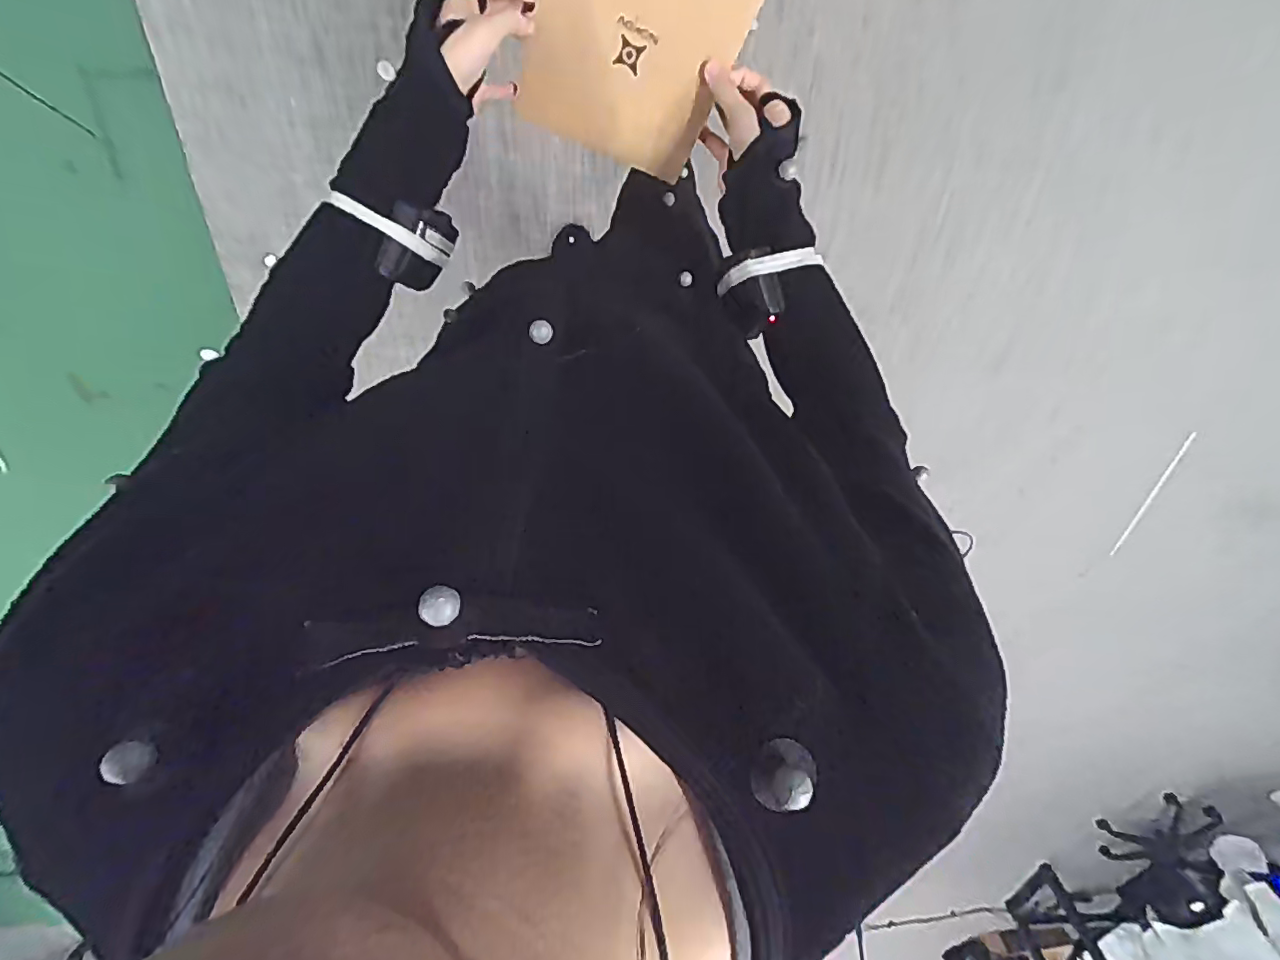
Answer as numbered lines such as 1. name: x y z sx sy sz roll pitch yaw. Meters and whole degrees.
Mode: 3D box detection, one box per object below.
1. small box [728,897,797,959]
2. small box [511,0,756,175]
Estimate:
1. small box: 0.364 1.389 1.634 0.168 0.176 0.179 -2 124 0
2. small box: -0.005 -0.431 0.493 0.168 0.176 0.179 16 142 -18
